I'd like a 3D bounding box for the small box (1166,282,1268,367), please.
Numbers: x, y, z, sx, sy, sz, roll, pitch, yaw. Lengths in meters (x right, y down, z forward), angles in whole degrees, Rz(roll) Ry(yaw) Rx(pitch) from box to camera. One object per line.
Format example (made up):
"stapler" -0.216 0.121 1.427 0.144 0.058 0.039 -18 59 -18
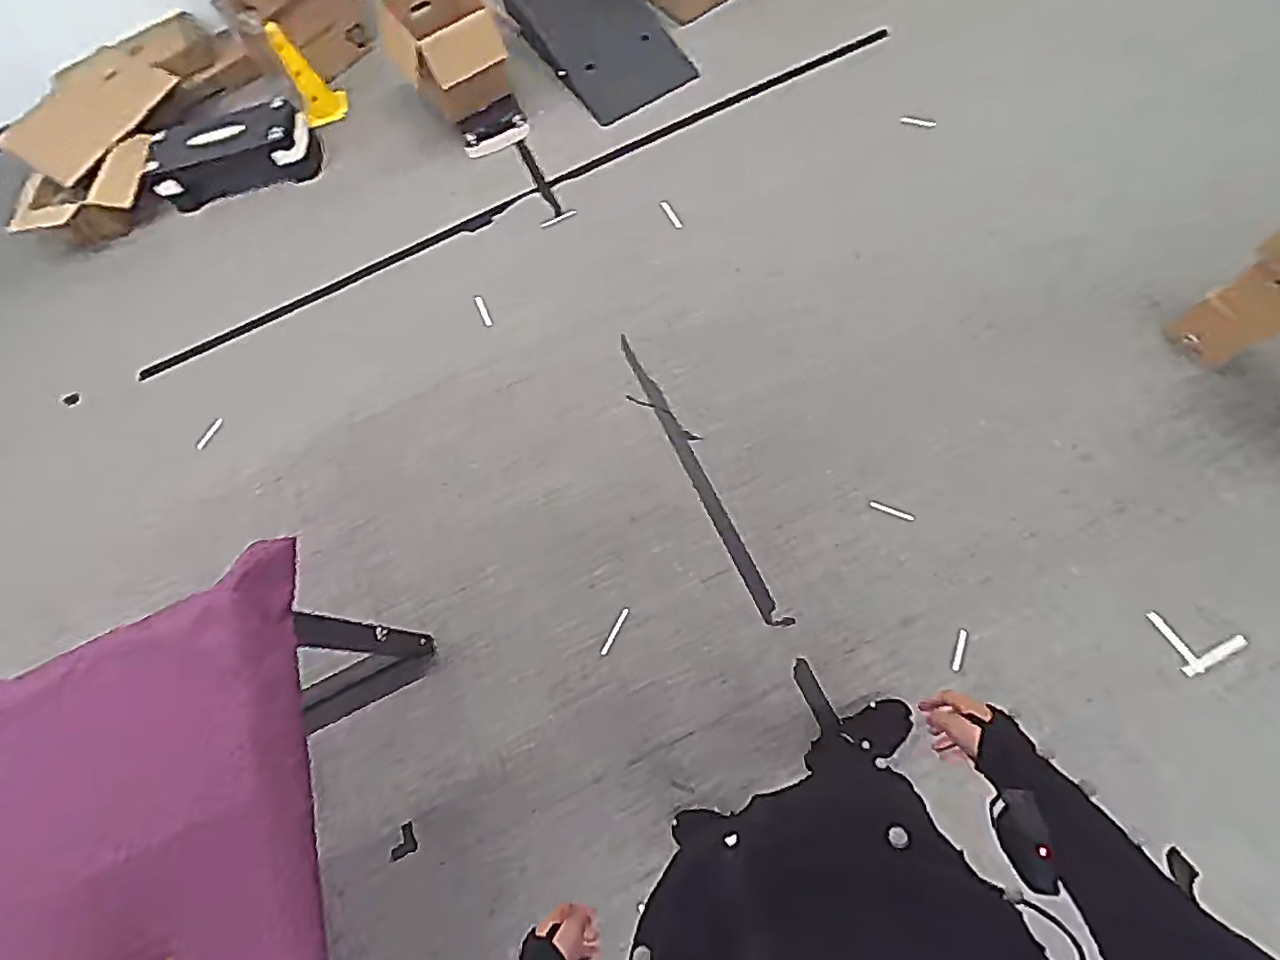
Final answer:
"small box" 1.673 -0.457 1.530 0.179 0.176 0.168 -30 67 -4

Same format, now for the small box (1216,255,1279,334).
"small box" 1.659 -0.508 1.374 0.168 0.176 0.179 -31 67 -4

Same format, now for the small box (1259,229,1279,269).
"small box" 1.609 -0.570 1.228 0.179 0.176 0.168 -27 66 -2
